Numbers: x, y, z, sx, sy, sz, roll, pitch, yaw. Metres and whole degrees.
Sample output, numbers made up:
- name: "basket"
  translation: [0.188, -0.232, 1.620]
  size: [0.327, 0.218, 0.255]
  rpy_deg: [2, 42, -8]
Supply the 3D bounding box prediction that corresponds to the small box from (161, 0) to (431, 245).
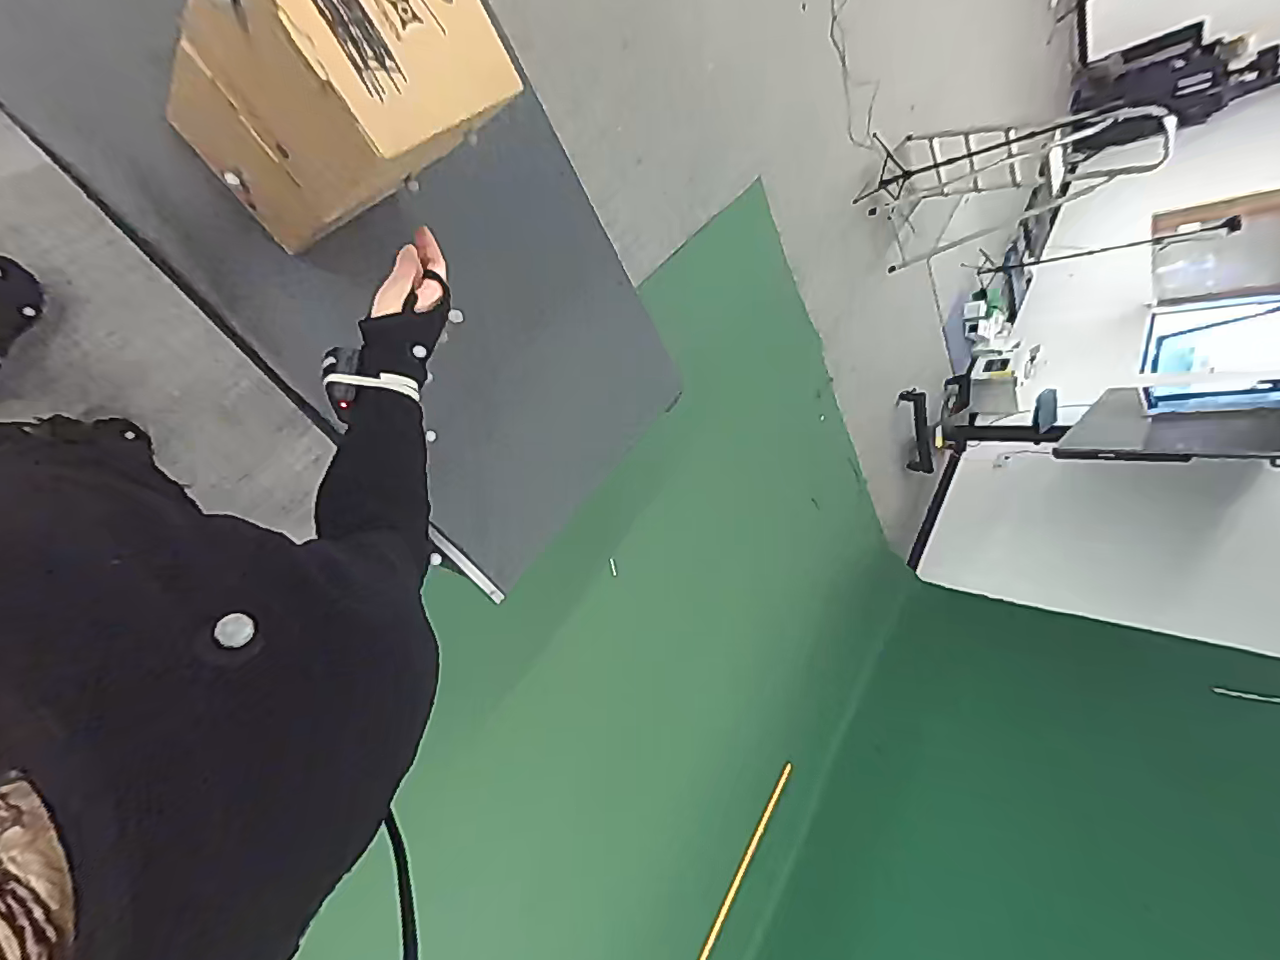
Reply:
- name: "small box"
  translation: [-0.380, -0.392, 0.601]
  size: [0.179, 0.176, 0.168]
  rpy_deg: [-53, 128, -27]
